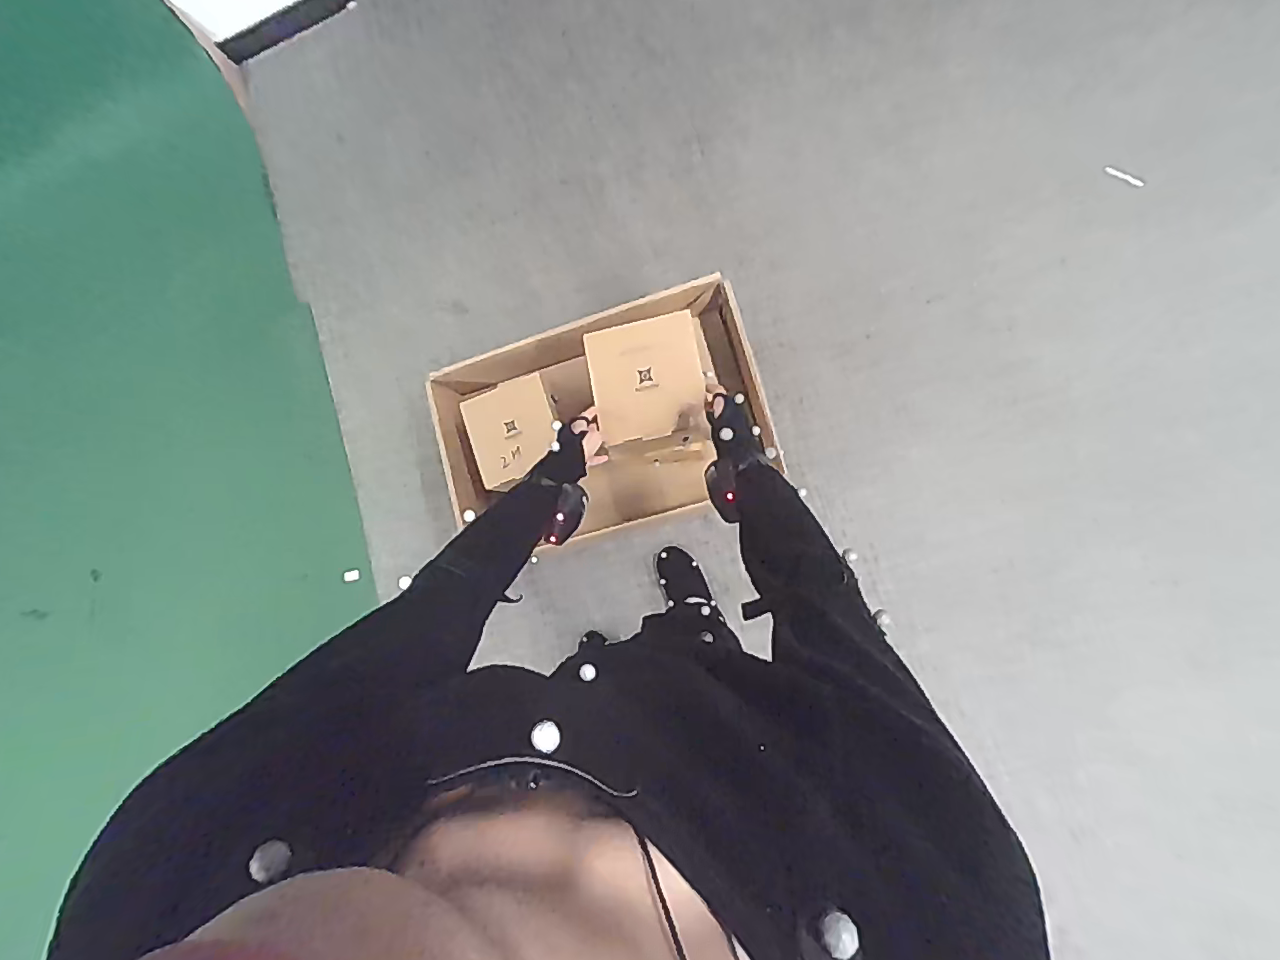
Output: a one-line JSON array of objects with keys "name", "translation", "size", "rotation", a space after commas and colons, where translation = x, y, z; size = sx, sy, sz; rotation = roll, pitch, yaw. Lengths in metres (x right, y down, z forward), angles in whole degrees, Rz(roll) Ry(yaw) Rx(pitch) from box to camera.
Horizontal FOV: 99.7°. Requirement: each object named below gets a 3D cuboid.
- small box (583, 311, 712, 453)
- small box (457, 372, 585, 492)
[{"name": "small box", "translation": [0.020, -0.141, 0.857], "size": [0.168, 0.176, 0.179], "rotation": [-10, 85, 8]}, {"name": "small box", "translation": [-0.225, -0.085, 1.057], "size": [0.168, 0.176, 0.179], "rotation": [-19, 84, 8]}]
